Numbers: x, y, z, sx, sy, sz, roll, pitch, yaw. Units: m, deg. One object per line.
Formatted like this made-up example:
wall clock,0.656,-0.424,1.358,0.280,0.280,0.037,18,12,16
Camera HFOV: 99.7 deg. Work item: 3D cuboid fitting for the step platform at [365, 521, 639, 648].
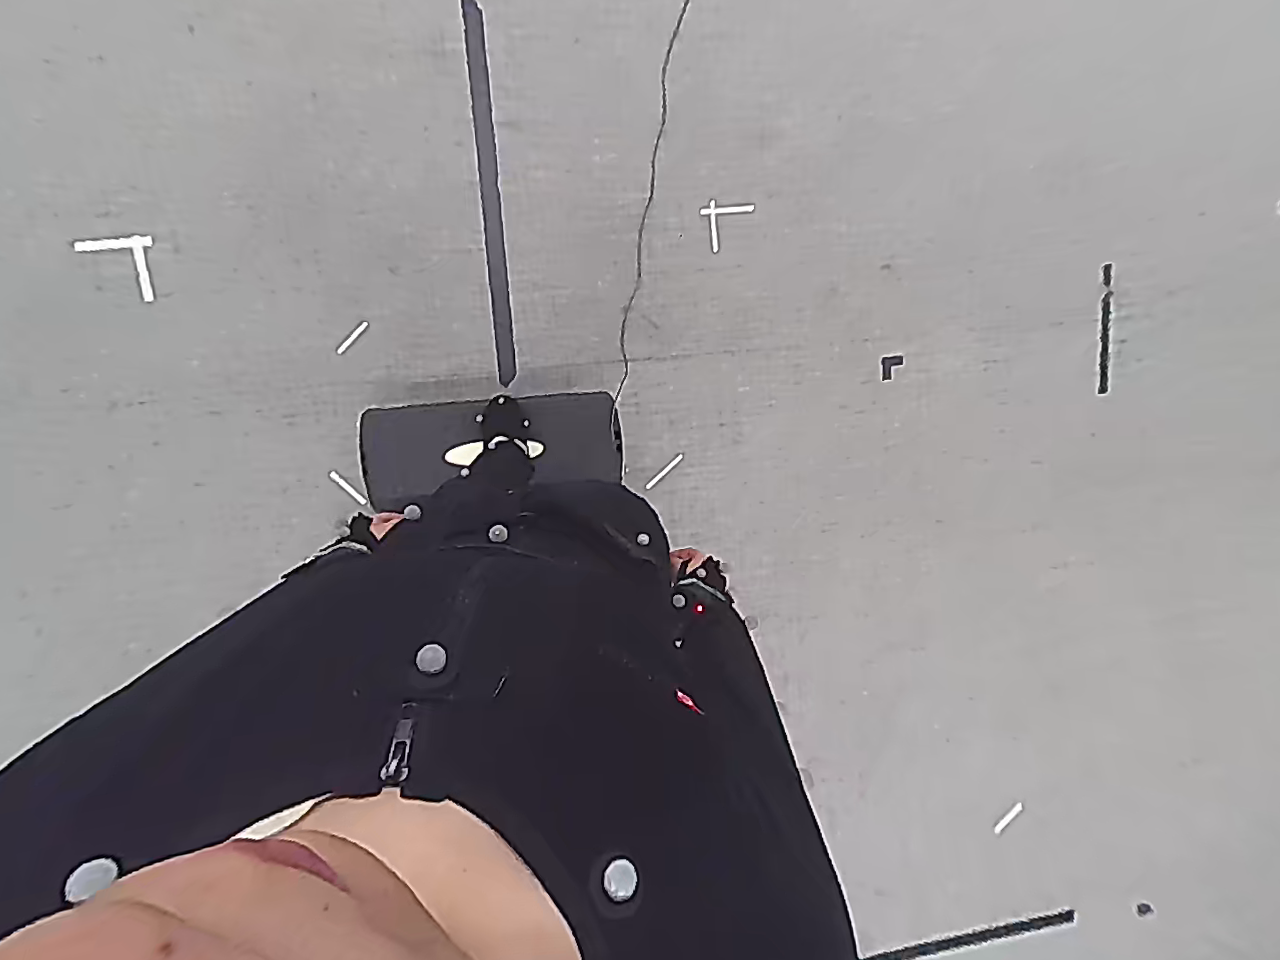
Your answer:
step platform,-0.342,0.267,1.420,0.684,0.204,0.286,-1,93,-6
